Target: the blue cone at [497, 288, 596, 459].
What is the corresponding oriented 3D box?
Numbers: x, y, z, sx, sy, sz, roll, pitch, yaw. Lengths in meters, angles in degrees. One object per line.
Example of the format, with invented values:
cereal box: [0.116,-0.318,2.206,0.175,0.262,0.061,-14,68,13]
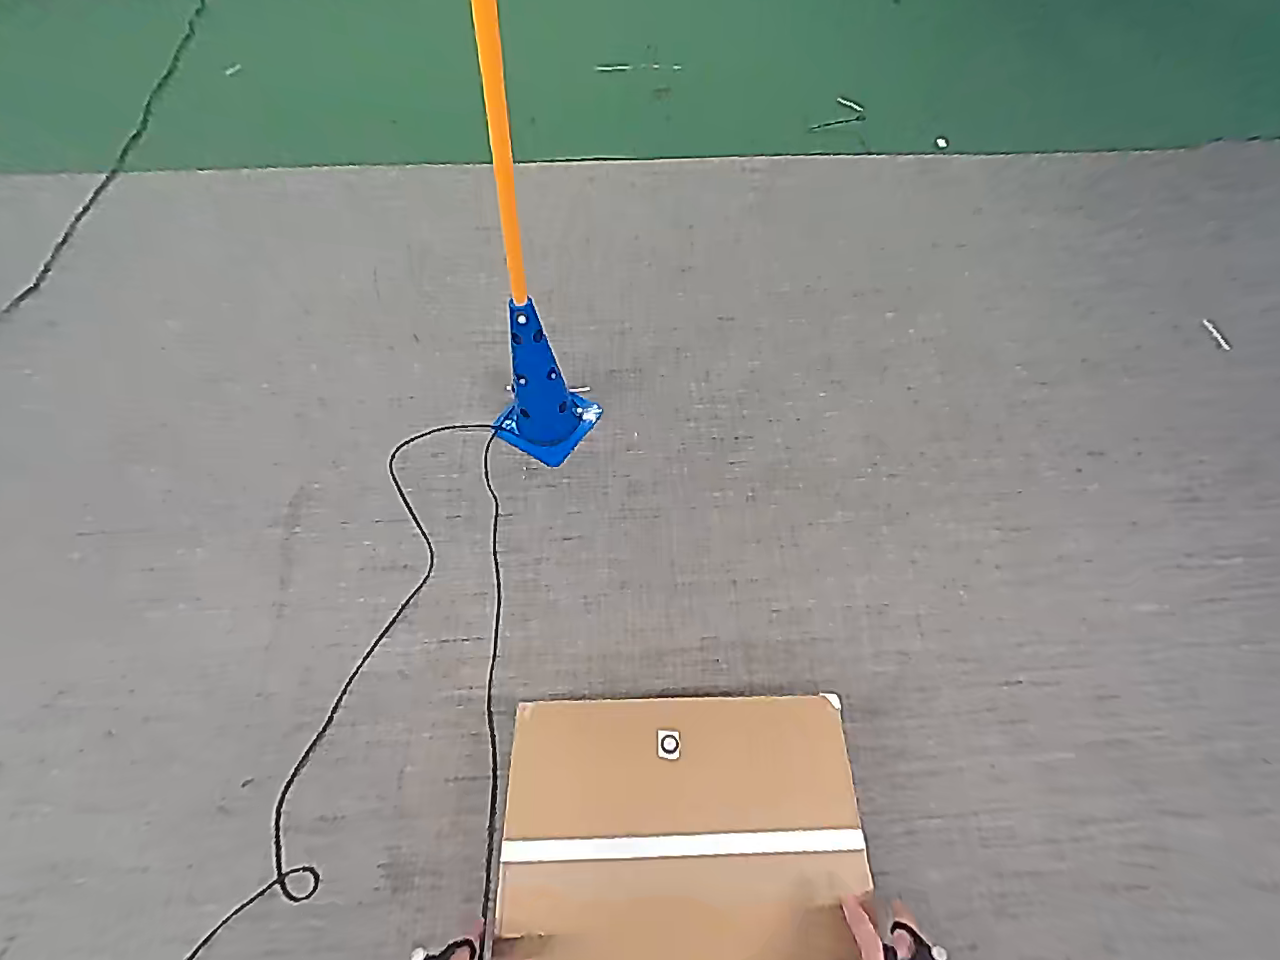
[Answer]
blue cone: [-0.211,-0.233,1.111,0.192,0.380,0.193,27,61,14]
